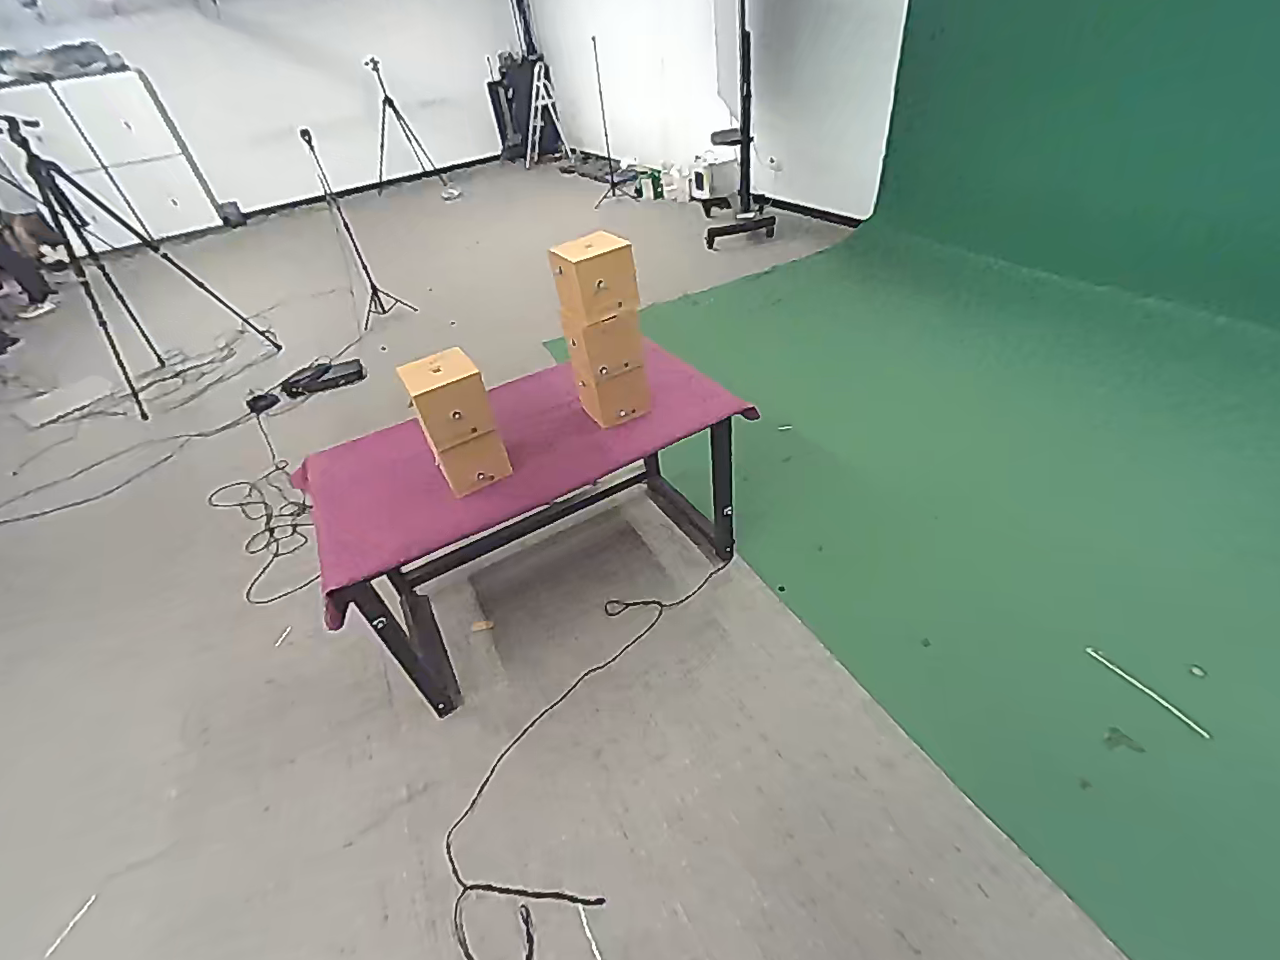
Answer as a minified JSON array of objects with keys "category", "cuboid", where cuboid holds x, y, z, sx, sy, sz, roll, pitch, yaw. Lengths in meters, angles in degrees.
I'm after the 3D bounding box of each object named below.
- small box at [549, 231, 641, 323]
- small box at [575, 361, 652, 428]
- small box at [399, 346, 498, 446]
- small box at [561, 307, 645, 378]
[{"category":"small box","cuboid":[-0.113,-0.532,1.424,0.168,0.176,0.179,-27,41,-17]},{"category":"small box","cuboid":[-0.078,-0.284,1.632,0.168,0.176,0.179,-25,42,-15]},{"category":"small box","cuboid":[-0.478,-0.207,1.363,0.168,0.176,0.179,-26,44,-19]},{"category":"small box","cuboid":[-0.100,-0.405,1.524,0.168,0.176,0.179,-25,41,-16]}]
